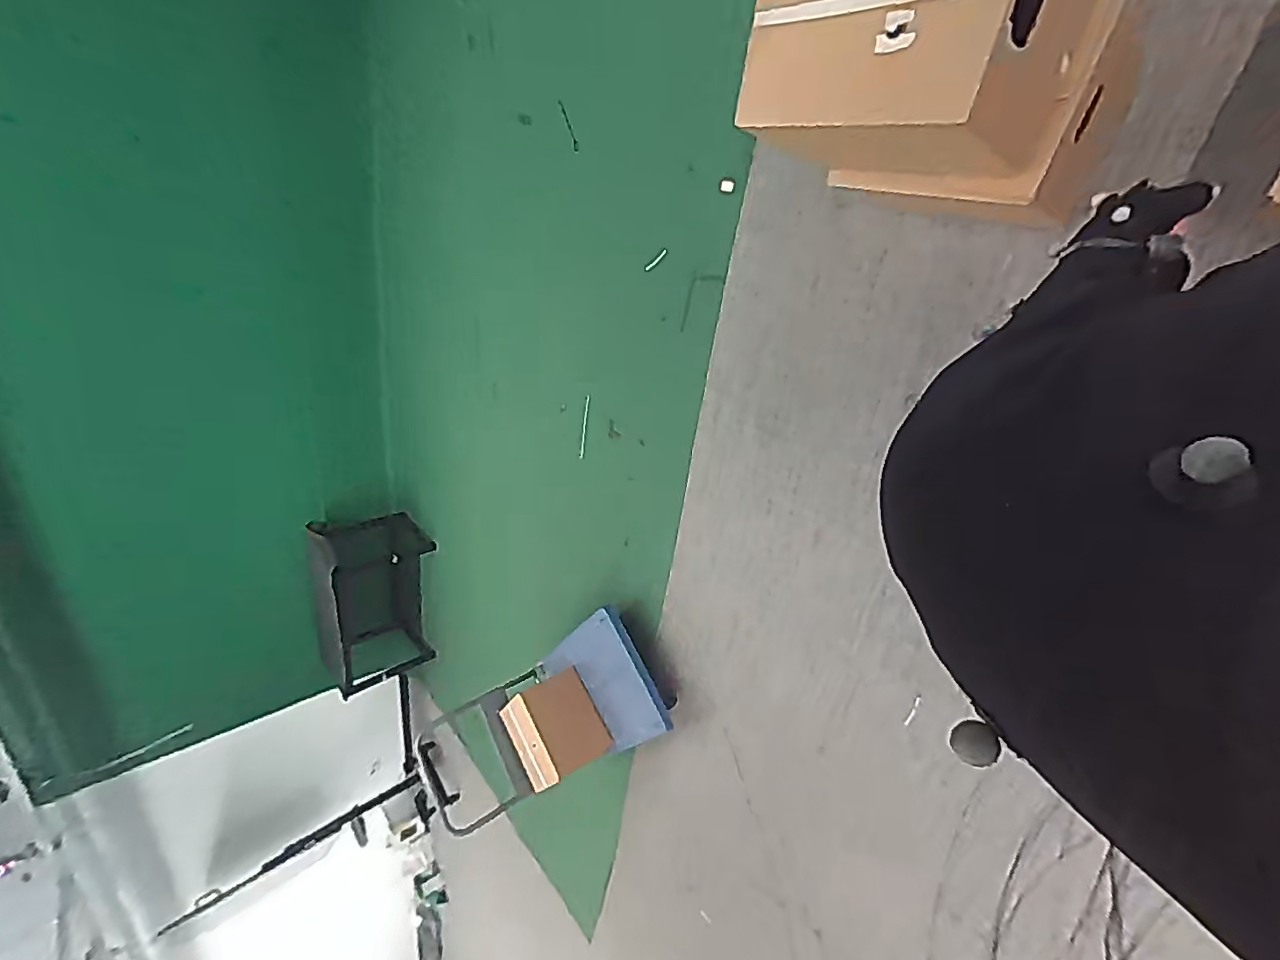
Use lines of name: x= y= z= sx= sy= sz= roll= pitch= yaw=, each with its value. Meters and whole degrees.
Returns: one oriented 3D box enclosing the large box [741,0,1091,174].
large box: x=0.446 y=-0.719 z=0.895 sx=0.408 sy=0.320 sz=0.320 roll=30 pitch=119 yaw=38
